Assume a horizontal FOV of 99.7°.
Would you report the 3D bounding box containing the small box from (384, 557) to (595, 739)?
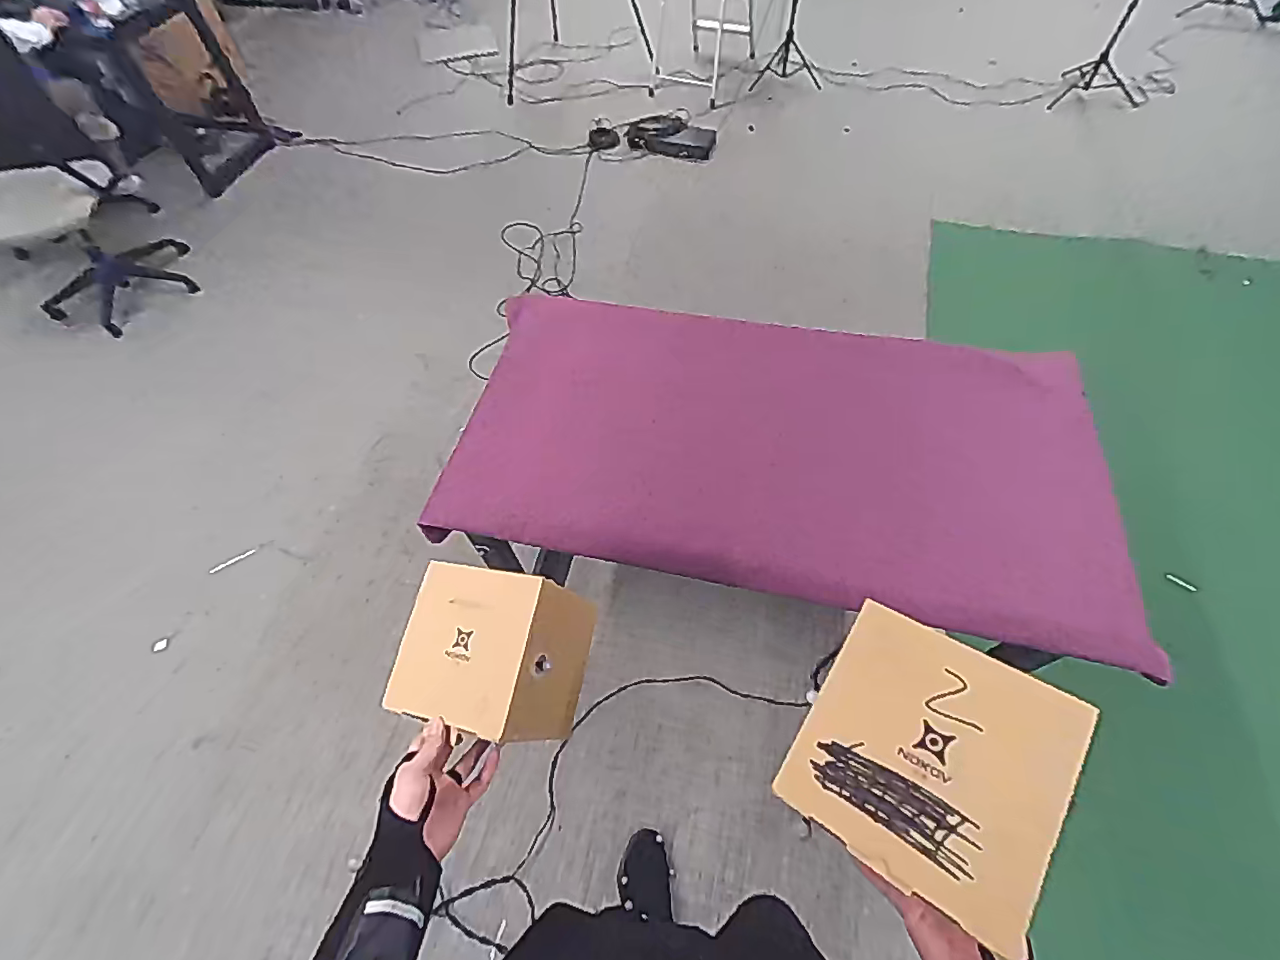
[{"bbox_3d":[-0.174,0.212,0.681,0.168,0.176,0.179,5,68,22],"label":"small box"}]
